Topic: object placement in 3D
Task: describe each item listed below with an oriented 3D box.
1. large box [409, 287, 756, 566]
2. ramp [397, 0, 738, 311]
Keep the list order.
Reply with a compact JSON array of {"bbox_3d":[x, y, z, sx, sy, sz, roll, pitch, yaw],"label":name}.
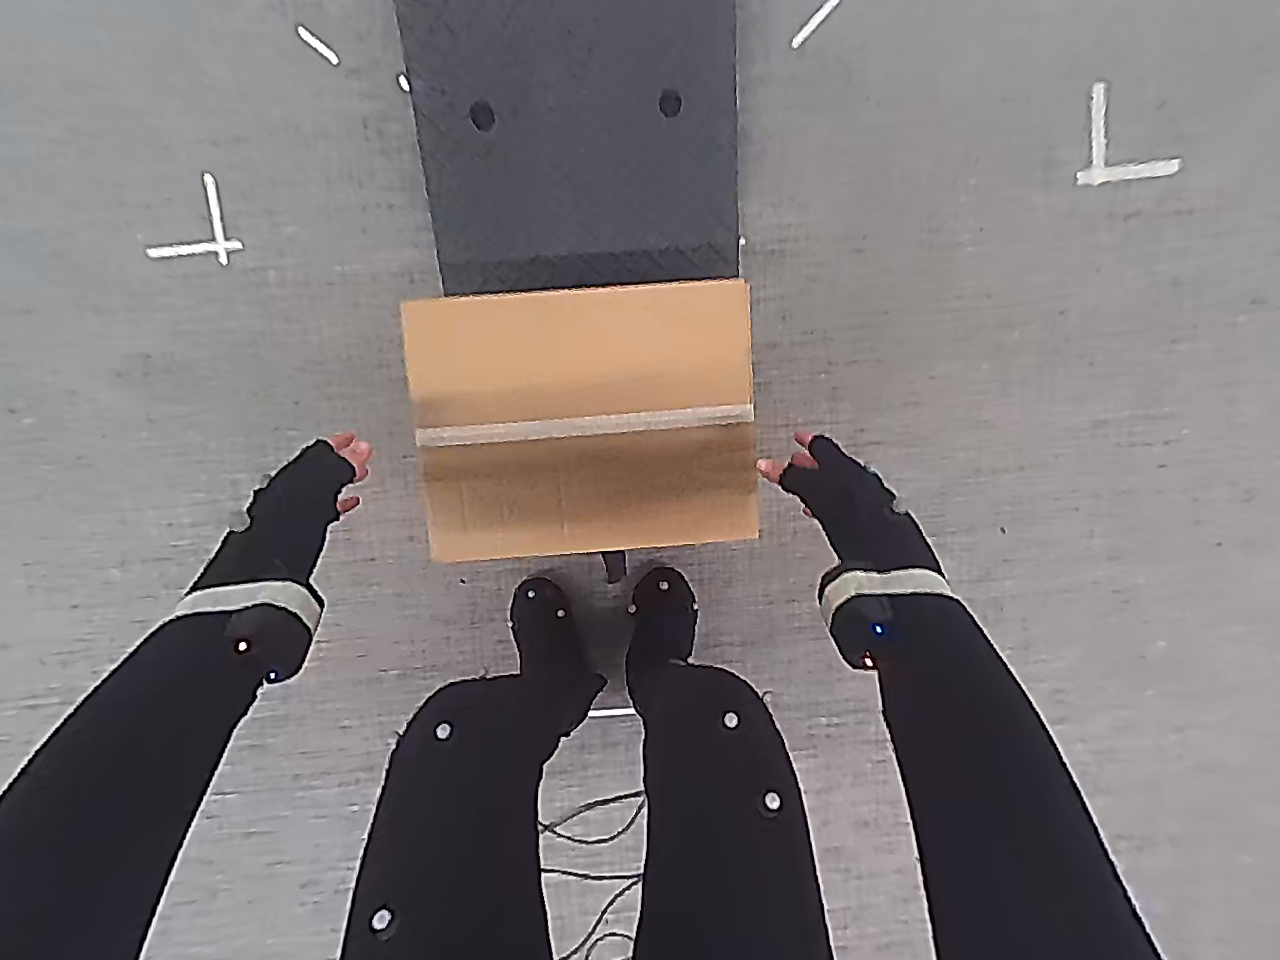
[{"bbox_3d":[-0.066,-0.081,0.804,0.408,0.320,0.320,-4,97,-1],"label":"large box"},{"bbox_3d":[-0.108,-0.759,0.765,0.509,0.206,0.991,-6,98,-2],"label":"ramp"}]
